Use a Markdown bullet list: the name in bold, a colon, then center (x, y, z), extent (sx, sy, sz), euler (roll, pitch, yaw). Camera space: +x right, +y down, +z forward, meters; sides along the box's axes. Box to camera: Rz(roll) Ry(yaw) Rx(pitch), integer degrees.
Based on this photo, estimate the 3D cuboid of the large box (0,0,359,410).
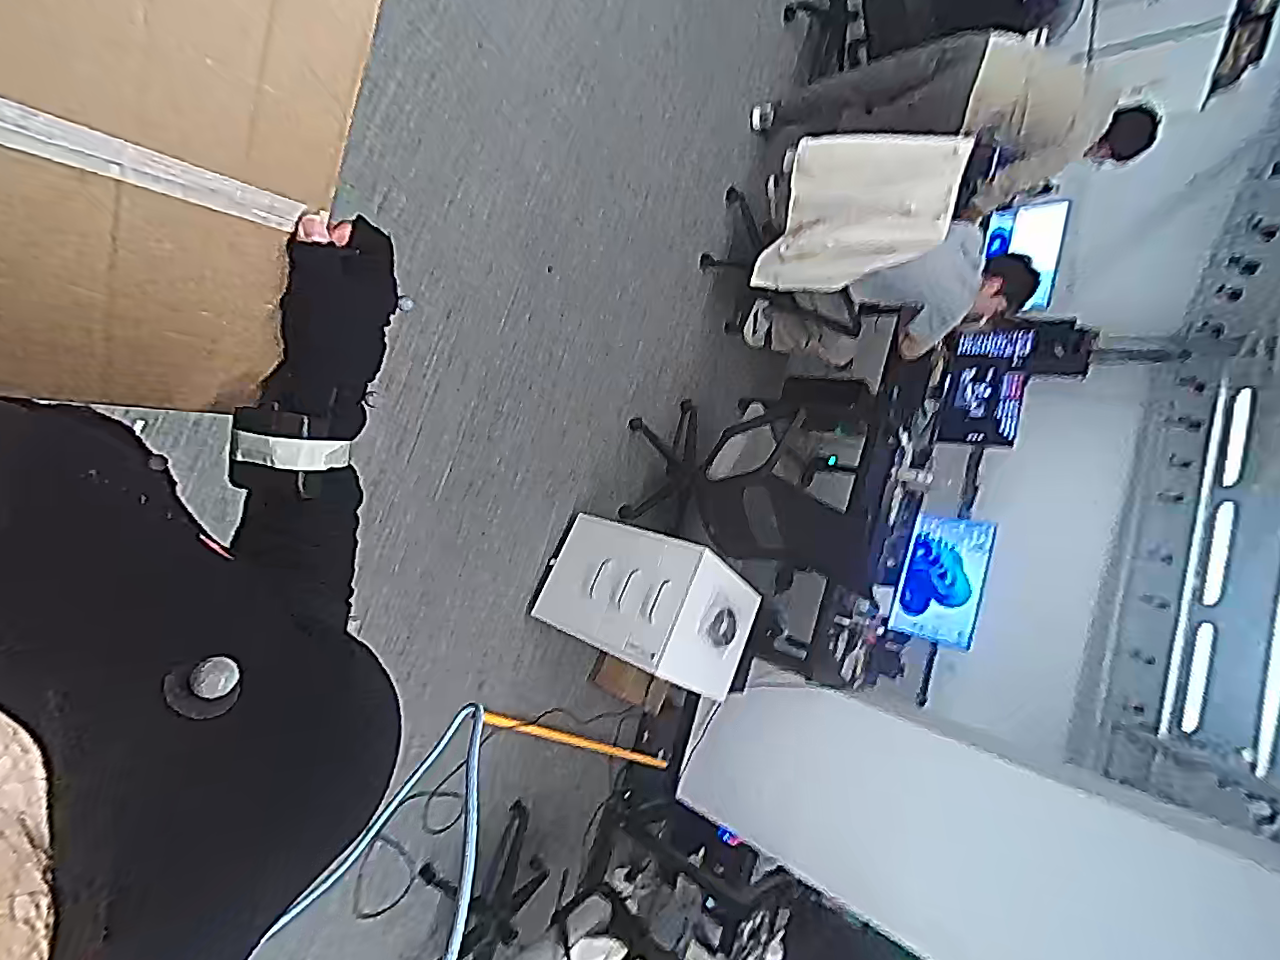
- **large box**: center (-0.440, -0.264, 0.292), extent (0.408, 0.320, 0.320), euler (0, 131, -48)
